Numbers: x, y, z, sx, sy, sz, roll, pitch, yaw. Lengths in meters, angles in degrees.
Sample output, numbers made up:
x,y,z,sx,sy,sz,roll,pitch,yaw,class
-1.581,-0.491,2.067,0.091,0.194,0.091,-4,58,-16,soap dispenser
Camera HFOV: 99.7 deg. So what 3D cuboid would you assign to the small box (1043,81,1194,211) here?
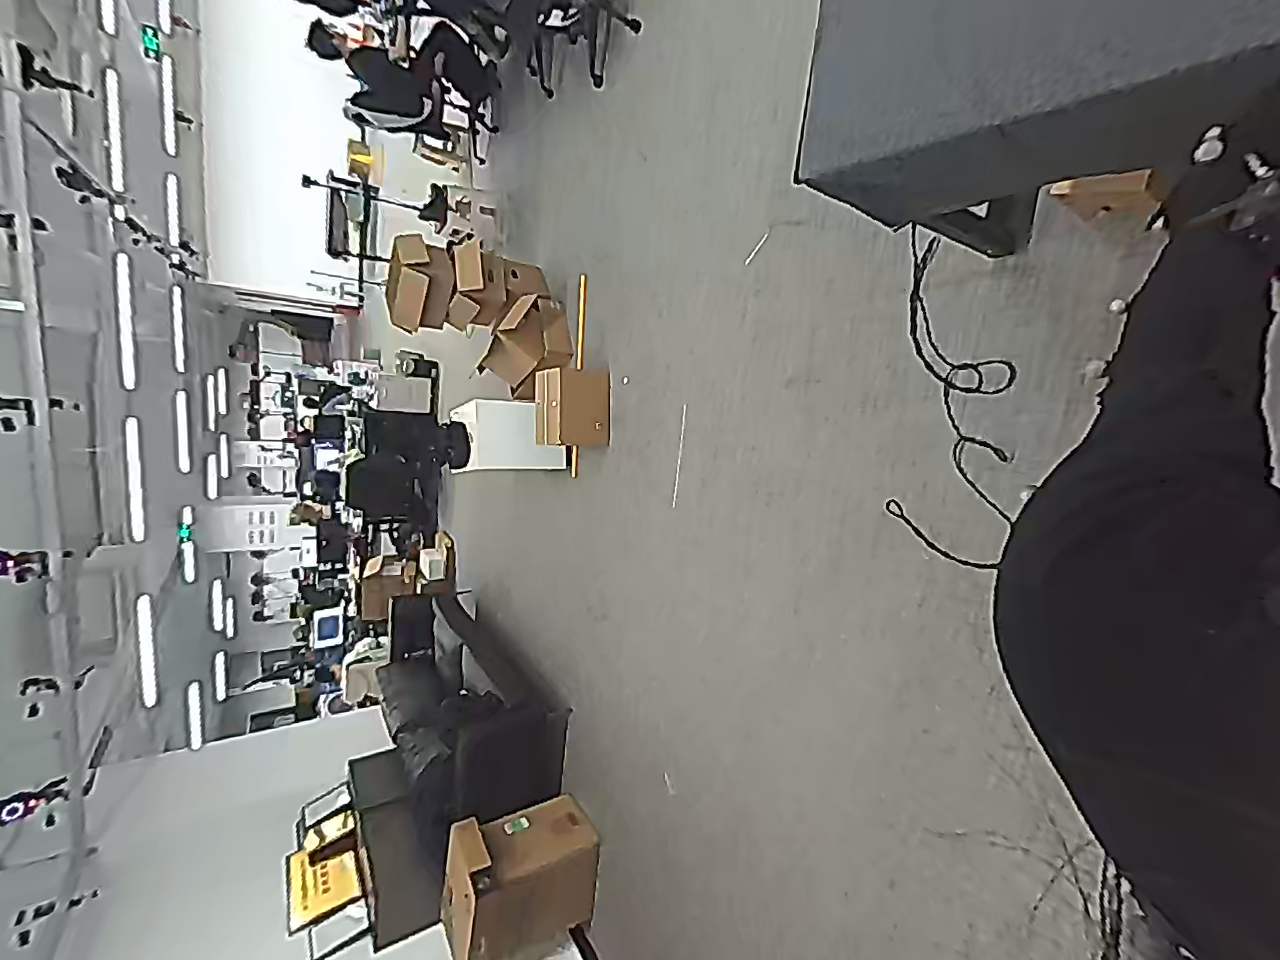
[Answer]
x,y,z,sx,sy,sz,roll,pitch,yaw,class
0.981,-0.670,1.107,0.168,0.176,0.179,33,117,51,small box
